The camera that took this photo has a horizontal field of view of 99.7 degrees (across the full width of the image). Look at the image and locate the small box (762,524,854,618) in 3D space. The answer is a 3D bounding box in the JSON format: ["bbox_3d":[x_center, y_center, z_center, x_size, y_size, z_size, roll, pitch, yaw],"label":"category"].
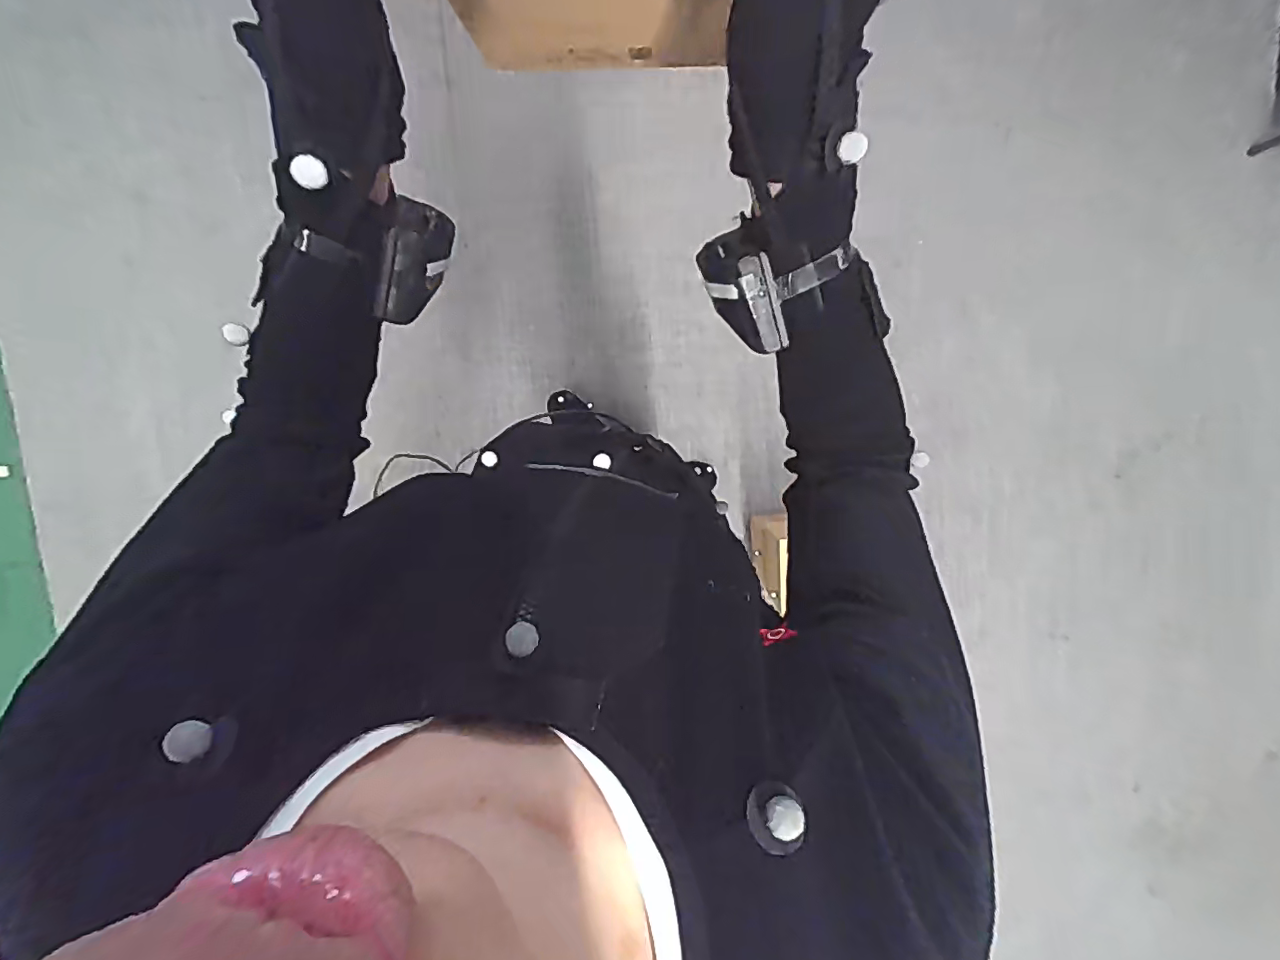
[{"bbox_3d":[0.378,0.201,1.240,0.168,0.176,0.179,-4,98,2],"label":"small box"}]

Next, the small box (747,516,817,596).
[{"bbox_3d":[0.381,0.192,1.405,0.179,0.176,0.168,-3,97,3],"label":"small box"}]
